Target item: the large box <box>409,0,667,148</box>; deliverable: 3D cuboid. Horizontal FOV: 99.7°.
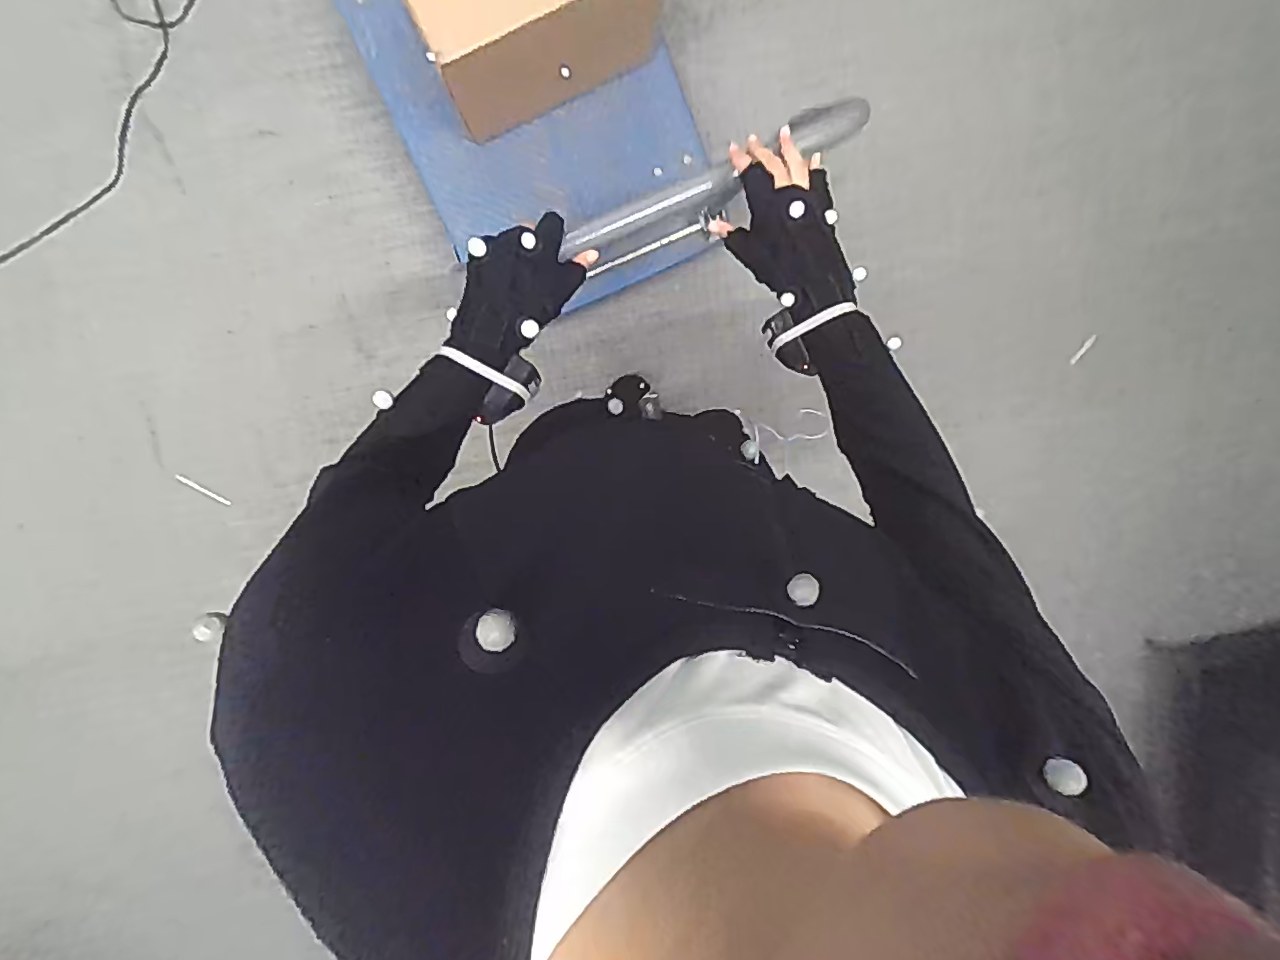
[{"bbox_3d":[-0.197,-0.879,0.949,0.408,0.320,0.320,-27,102,1],"label":"large box"}]
